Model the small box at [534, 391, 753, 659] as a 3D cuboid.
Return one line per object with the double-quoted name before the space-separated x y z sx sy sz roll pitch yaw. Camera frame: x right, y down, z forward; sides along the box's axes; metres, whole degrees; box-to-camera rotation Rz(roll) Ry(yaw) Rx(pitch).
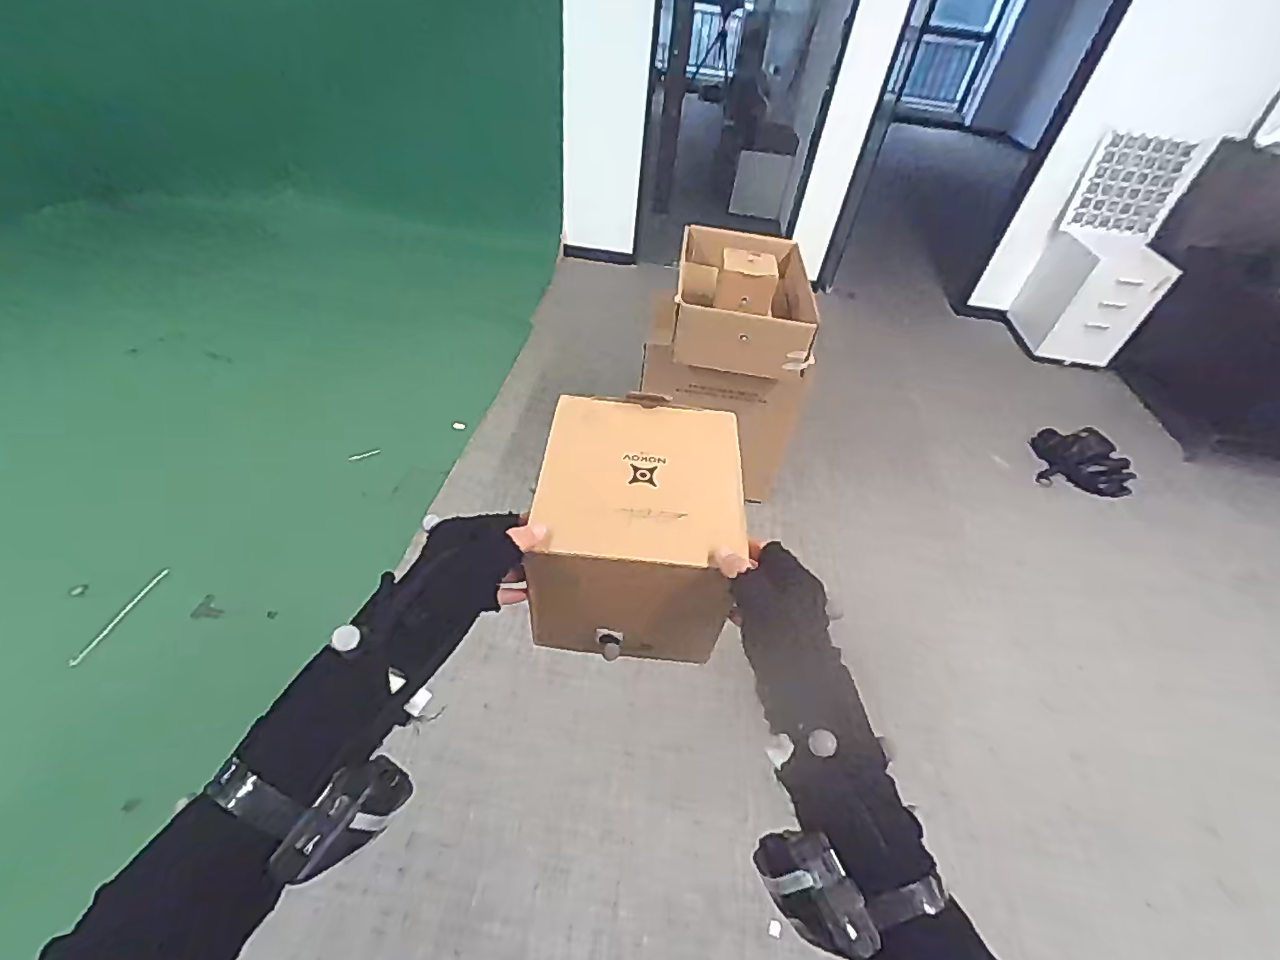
"small box" 0.000 0.044 0.506 0.168 0.176 0.179 6 48 -1
